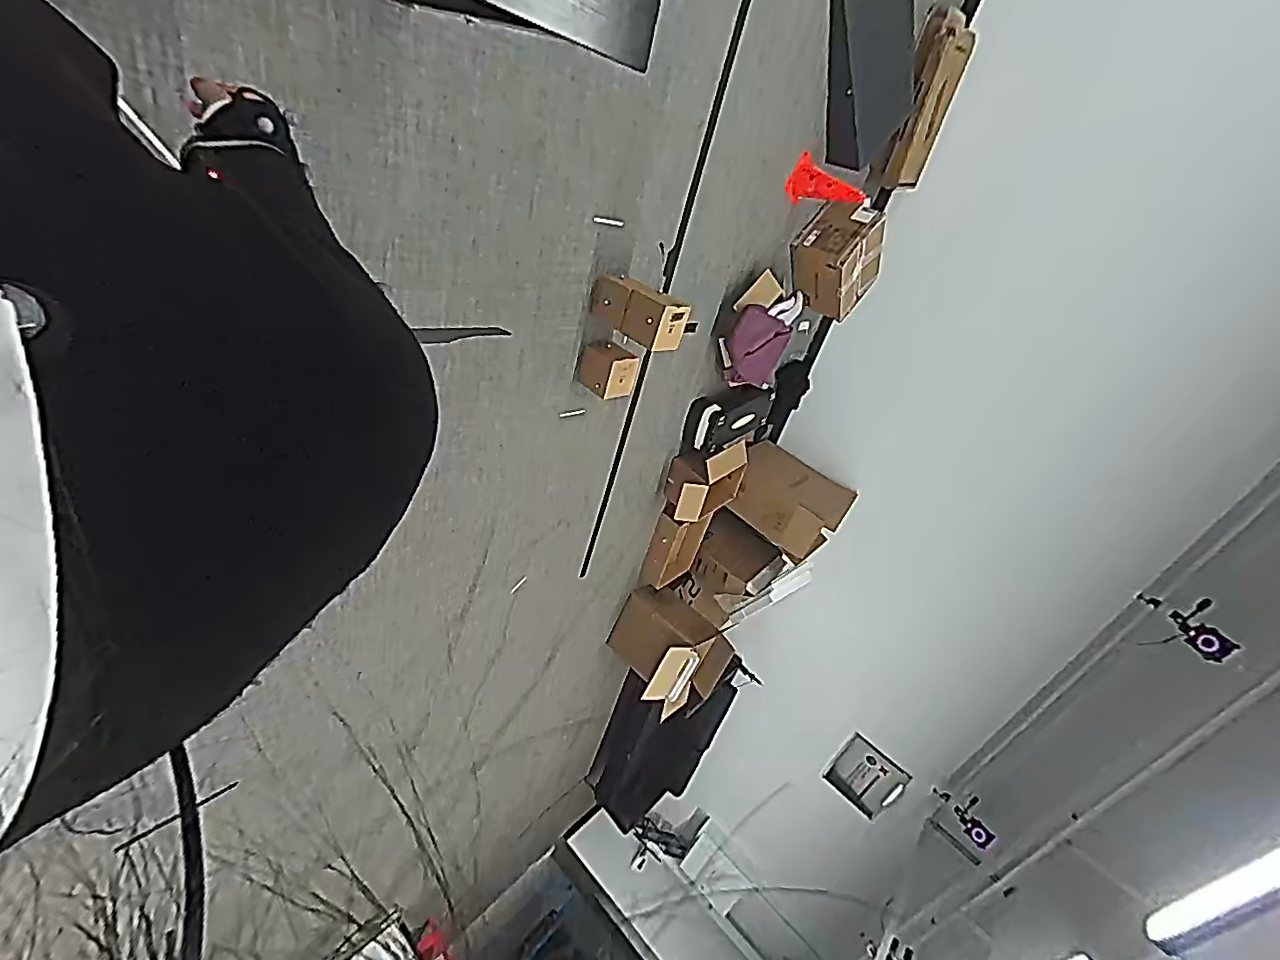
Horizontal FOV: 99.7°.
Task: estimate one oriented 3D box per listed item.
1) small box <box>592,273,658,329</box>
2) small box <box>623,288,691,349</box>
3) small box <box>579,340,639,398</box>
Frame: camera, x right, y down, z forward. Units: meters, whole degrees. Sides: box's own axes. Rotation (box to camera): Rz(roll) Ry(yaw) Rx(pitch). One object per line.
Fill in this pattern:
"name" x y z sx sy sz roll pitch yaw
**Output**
"small box" -0.063 -0.702 2.122 0.179 0.176 0.168 -18 136 -47
"small box" 0.060 -0.614 2.051 0.168 0.176 0.179 -19 137 -48
"small box" -0.135 -0.470 2.275 0.168 0.176 0.179 -22 139 -45
